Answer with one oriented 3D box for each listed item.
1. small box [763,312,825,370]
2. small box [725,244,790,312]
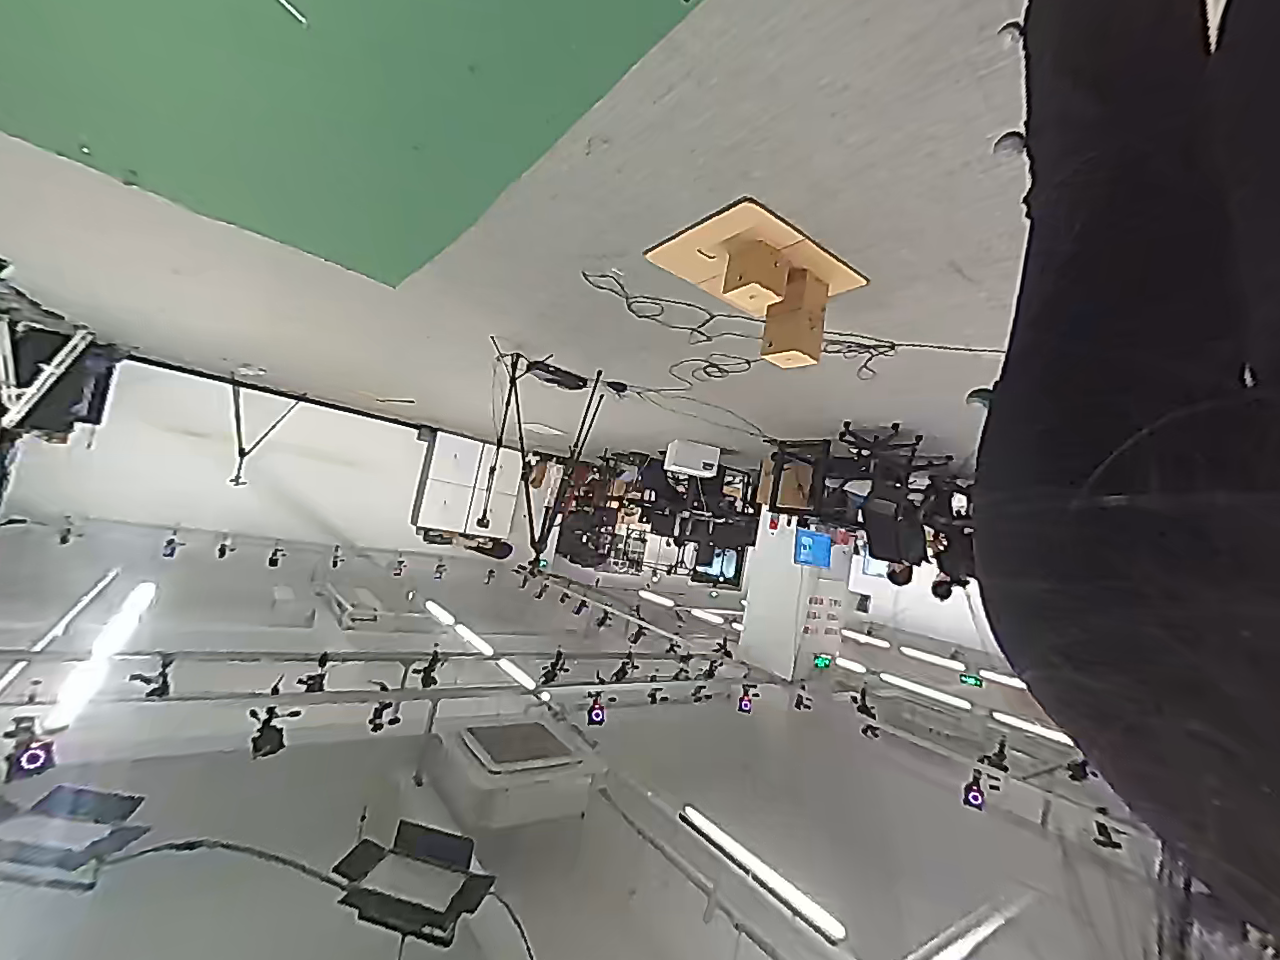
[{"bbox_3d":[0.628,-0.562,2.195,0.168,0.176,0.179,12,174,-37],"label":"small box"},{"bbox_3d":[0.454,-0.774,2.078,0.168,0.176,0.179,14,173,-32],"label":"small box"}]
